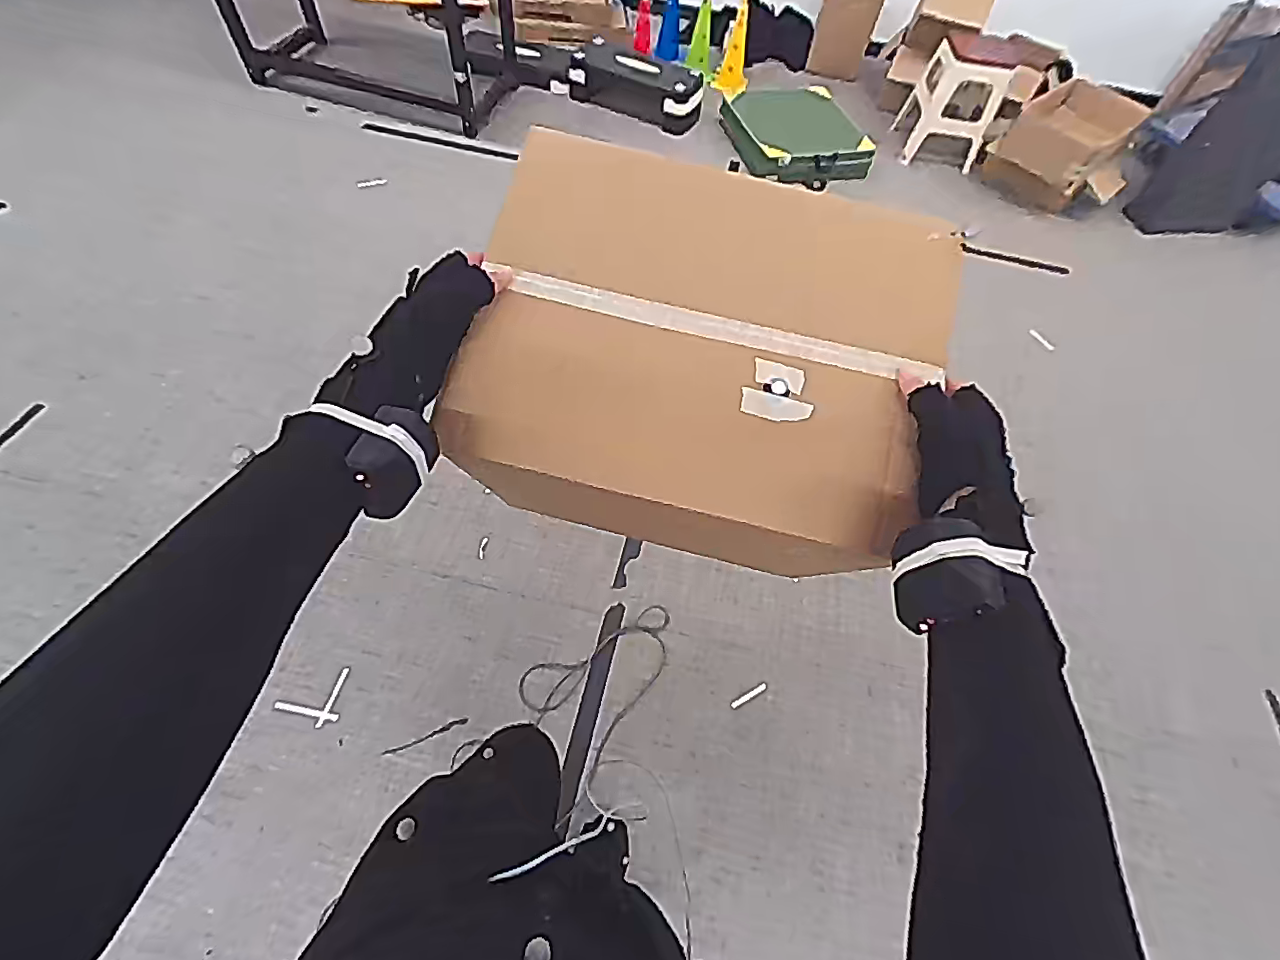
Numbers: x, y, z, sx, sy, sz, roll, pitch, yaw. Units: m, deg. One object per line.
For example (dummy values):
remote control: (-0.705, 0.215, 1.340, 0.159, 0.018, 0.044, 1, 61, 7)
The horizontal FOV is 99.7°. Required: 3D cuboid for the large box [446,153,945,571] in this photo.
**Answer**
large box: (0.056, -0.094, 0.625, 0.408, 0.320, 0.320, 14, 79, 1)
